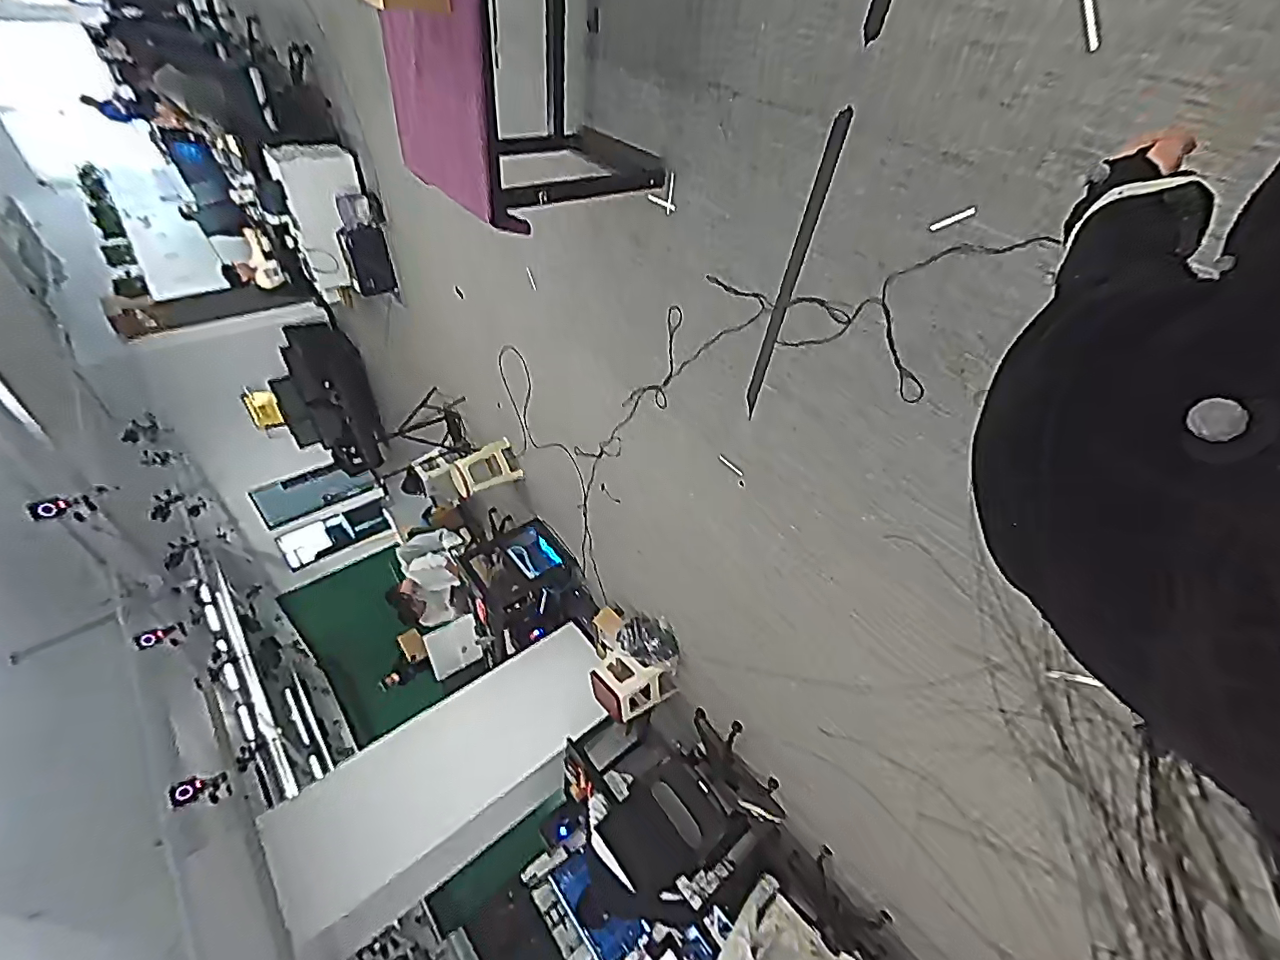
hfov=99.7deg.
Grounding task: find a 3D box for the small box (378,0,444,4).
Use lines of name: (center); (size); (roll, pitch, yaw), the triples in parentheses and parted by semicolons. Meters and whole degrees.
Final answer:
small box: (-0.579, -1.251, 1.278); (0.179, 0.176, 0.168); (45, 146, 28)
